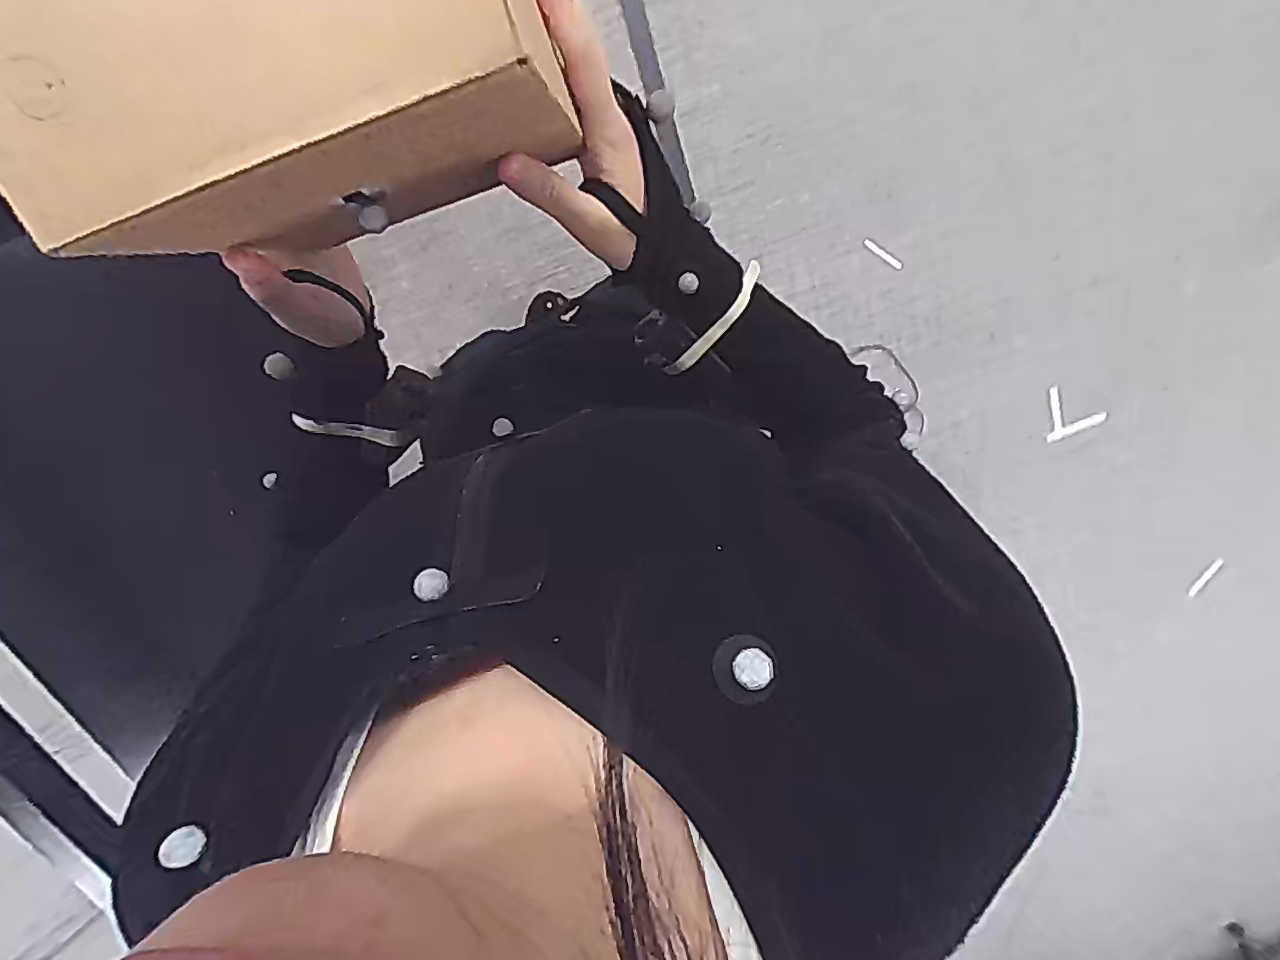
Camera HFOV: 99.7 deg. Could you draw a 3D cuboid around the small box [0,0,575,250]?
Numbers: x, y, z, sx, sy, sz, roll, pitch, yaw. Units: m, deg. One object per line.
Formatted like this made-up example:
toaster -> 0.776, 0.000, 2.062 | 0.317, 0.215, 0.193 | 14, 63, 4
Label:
small box -> -0.131, -0.200, 0.209 | 0.179, 0.176, 0.168 | -13, 113, 8
